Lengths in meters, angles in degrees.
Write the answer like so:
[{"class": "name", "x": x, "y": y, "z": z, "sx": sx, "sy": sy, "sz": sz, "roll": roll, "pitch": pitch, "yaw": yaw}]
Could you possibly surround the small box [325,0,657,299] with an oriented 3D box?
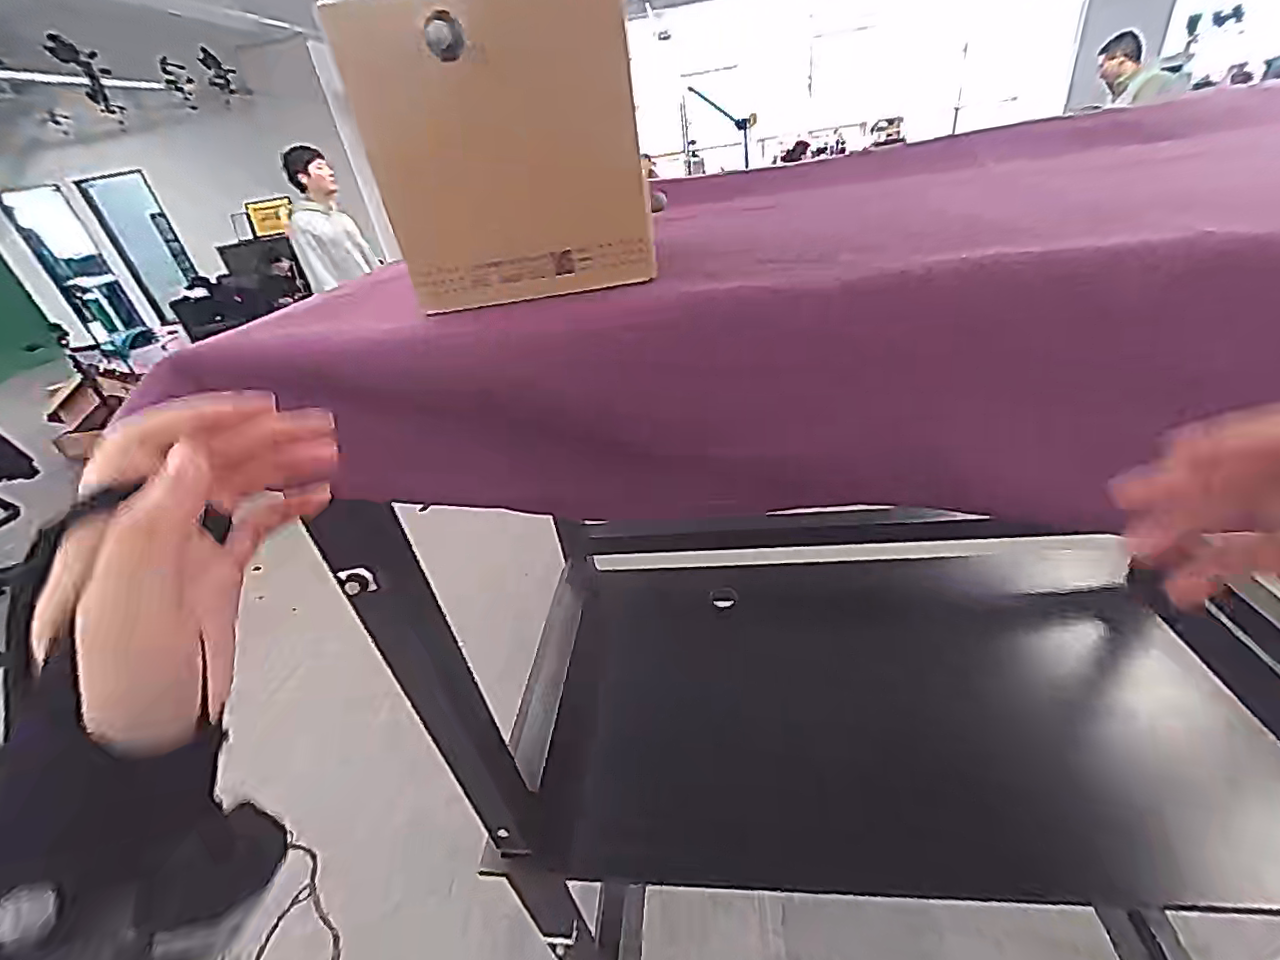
[{"class": "small box", "x": -0.082, "y": -0.241, "z": 0.396, "sx": 0.168, "sy": 0.176, "sz": 0.179, "roll": -8, "pitch": 31, "yaw": 2}]
